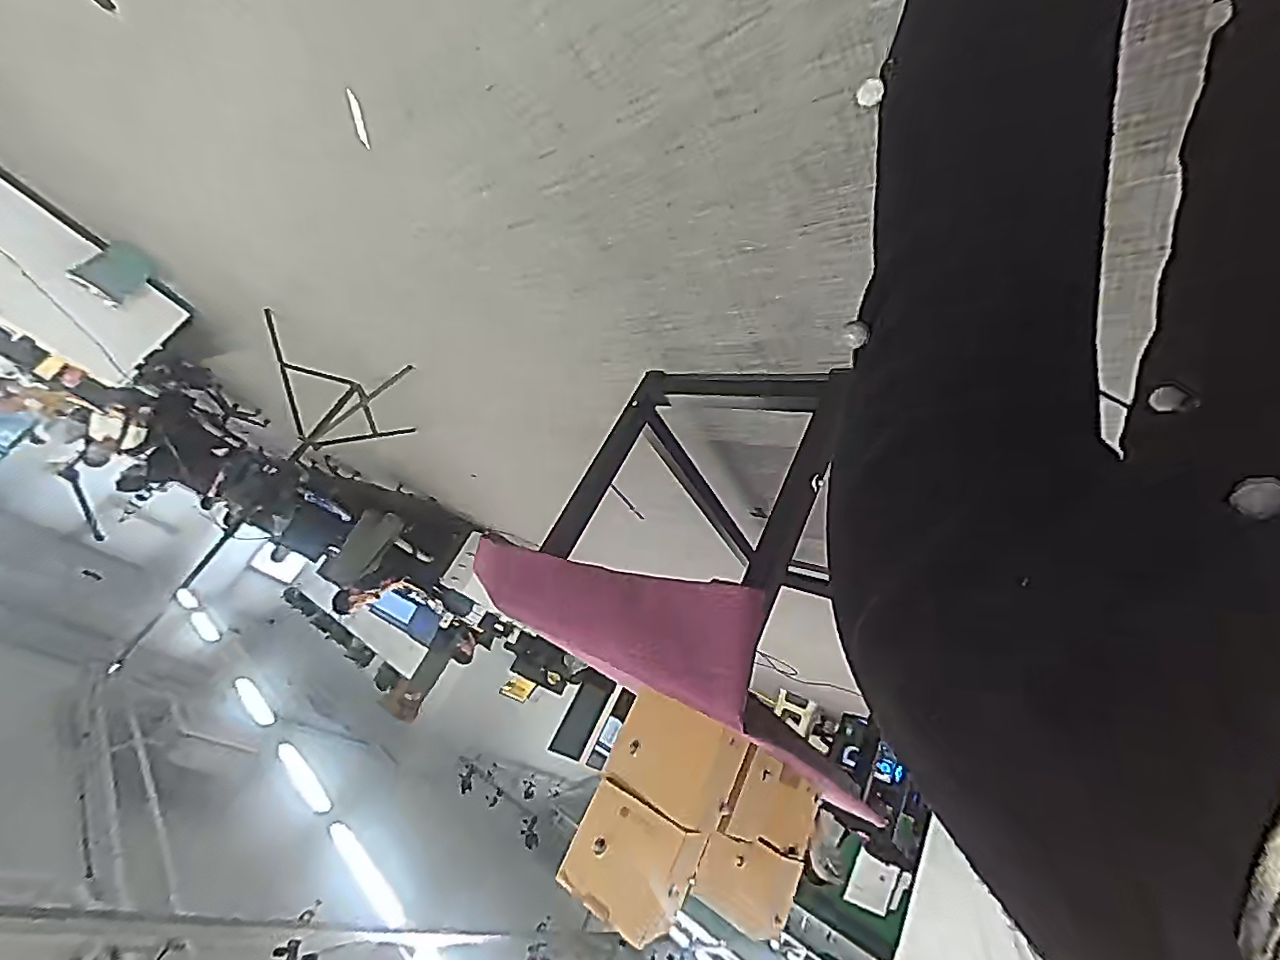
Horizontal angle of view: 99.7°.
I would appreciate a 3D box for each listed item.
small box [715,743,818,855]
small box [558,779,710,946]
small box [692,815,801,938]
[{"bbox_3d":[0.317,0.774,1.321,0.179,0.176,0.168,8,151,43],"label":"small box"},{"bbox_3d":[-0.001,0.630,0.916,0.168,0.176,0.179,18,159,31],"label":"small box"},{"bbox_3d":[0.253,0.910,1.251,0.168,0.176,0.179,9,151,40],"label":"small box"}]
